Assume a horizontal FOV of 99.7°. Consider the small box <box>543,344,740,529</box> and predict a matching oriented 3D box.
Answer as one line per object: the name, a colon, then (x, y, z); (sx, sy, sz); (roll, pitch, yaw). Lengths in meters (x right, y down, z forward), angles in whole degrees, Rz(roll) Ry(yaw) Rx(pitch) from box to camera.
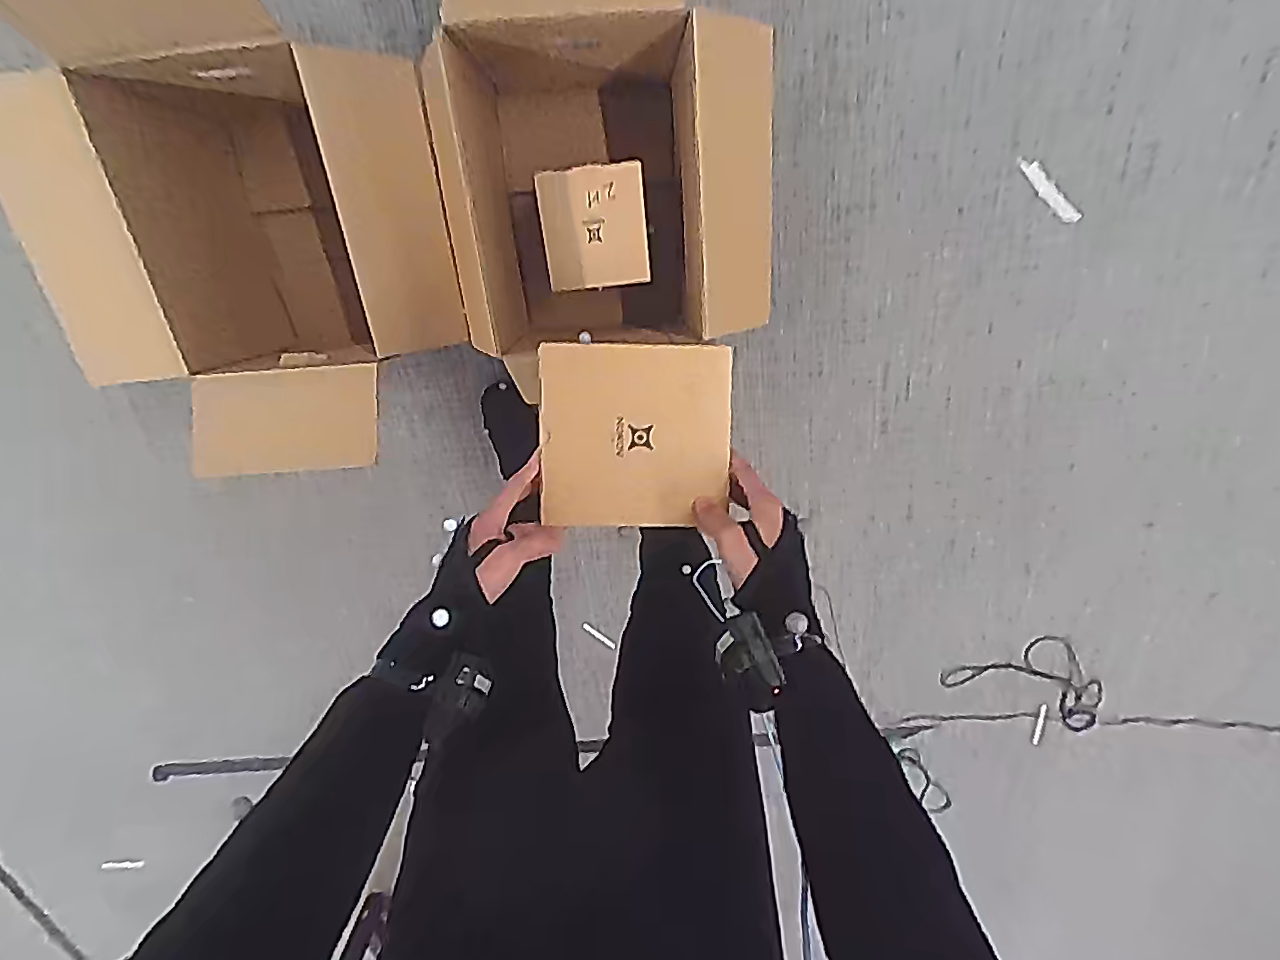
small box: (-0.001, -0.047, 0.563); (0.179, 0.176, 0.168); (1, 96, -1)
